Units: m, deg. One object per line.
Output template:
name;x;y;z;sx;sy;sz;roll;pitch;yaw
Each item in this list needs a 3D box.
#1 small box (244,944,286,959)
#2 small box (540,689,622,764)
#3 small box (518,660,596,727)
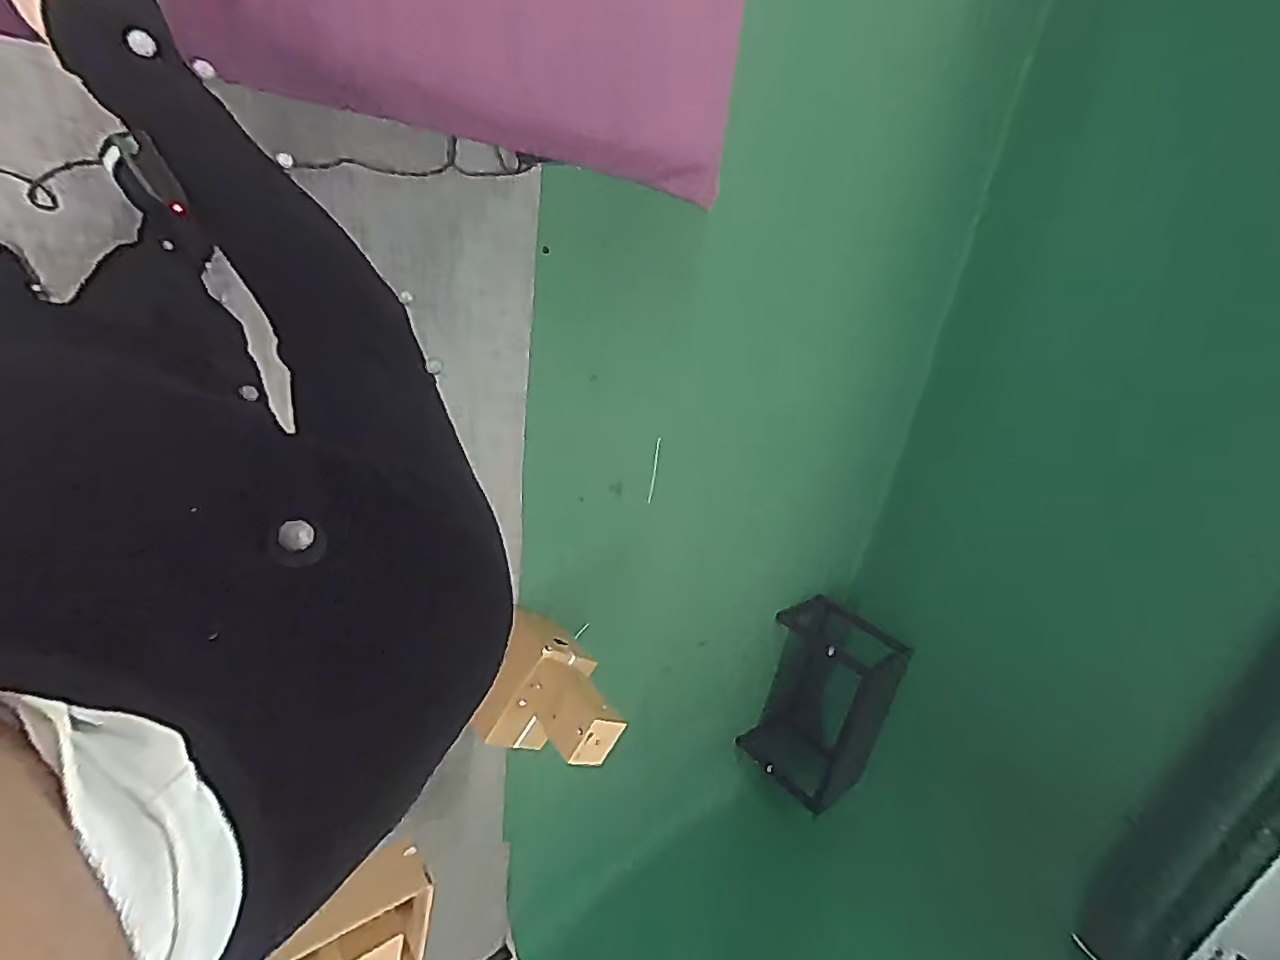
small box;-1.033;1.405;1.435;0.168;0.176;0.179;-2;112;-43
small box;-0.201;0.830;1.826;0.179;0.176;0.168;36;86;-47
small box;-0.300;0.773;1.945;0.179;0.176;0.168;36;85;-46
